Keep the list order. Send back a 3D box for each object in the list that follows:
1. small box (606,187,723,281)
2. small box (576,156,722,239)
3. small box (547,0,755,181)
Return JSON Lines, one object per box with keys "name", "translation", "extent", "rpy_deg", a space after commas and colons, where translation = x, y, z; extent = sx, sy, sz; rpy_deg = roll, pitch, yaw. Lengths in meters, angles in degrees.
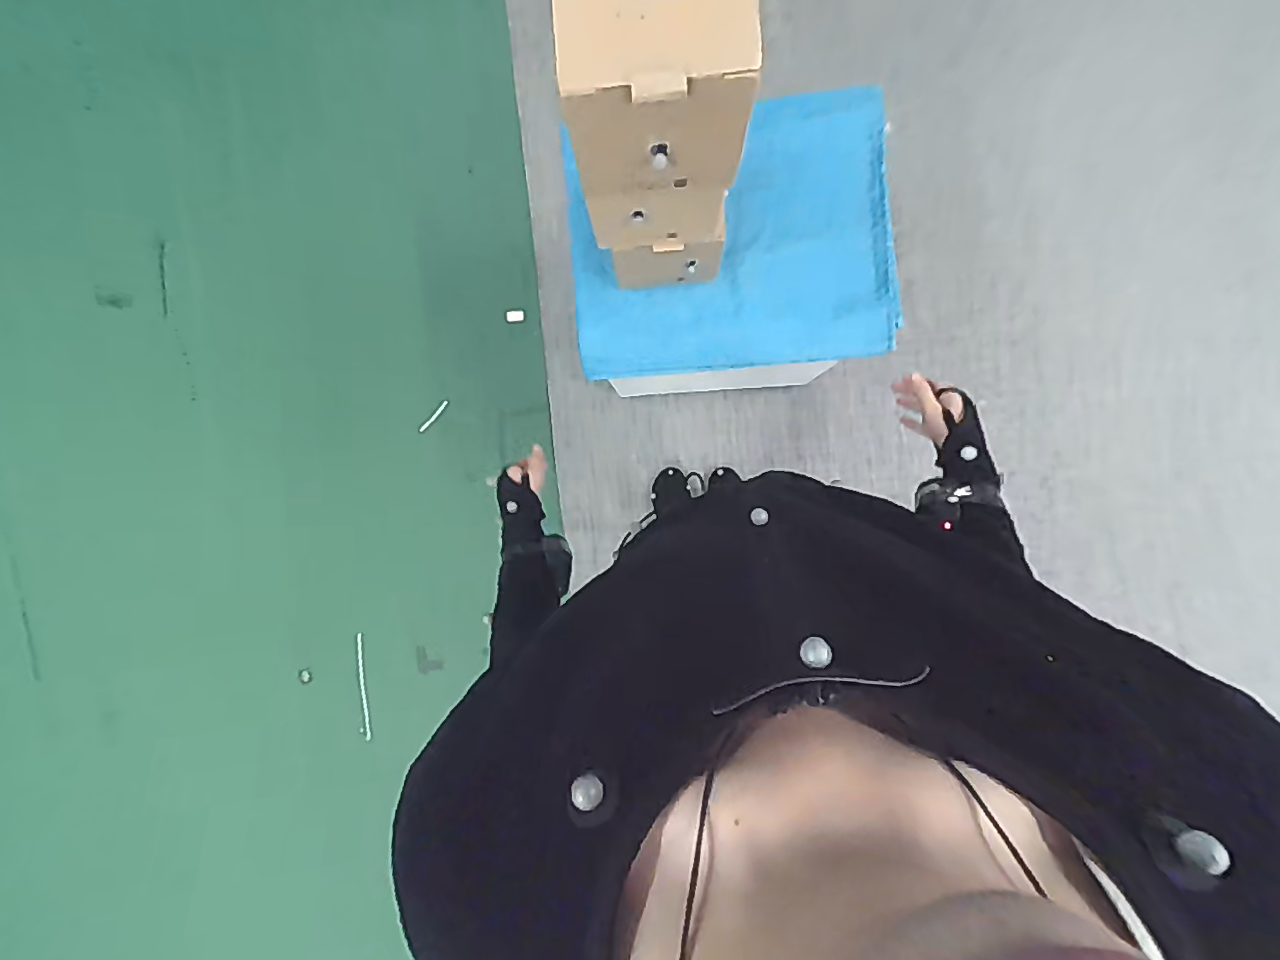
{"name": "small box", "translation": [0.035, -0.417, 0.828], "extent": [0.168, 0.176, 0.179], "rpy_deg": [-4, 90, 2]}
{"name": "small box", "translation": [0.014, -0.414, 0.667], "extent": [0.168, 0.176, 0.179], "rpy_deg": [-2, 89, 3]}
{"name": "small box", "translation": [0.012, -0.403, 0.503], "extent": [0.168, 0.176, 0.179], "rpy_deg": [-3, 90, 3]}
